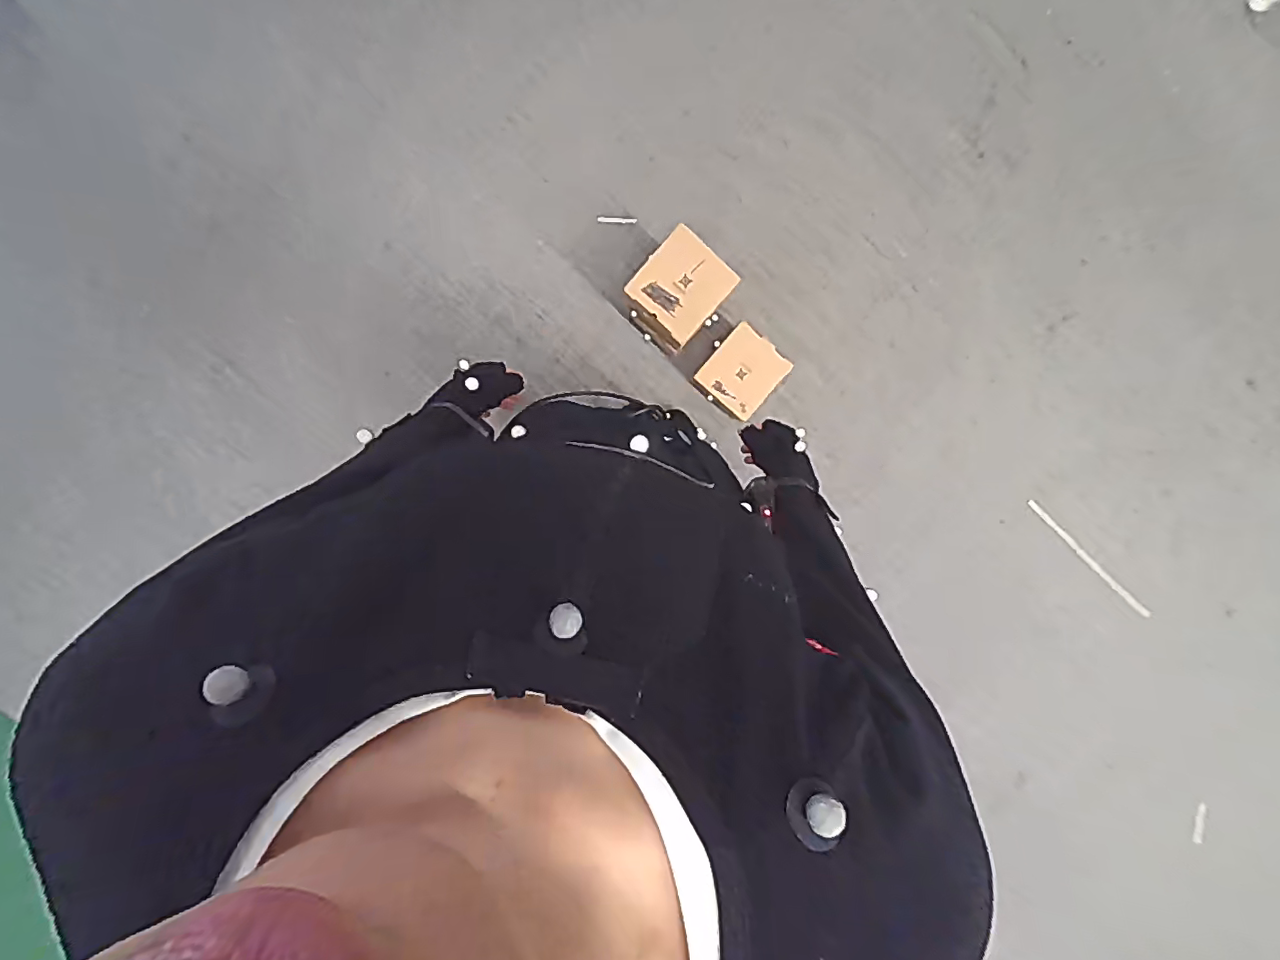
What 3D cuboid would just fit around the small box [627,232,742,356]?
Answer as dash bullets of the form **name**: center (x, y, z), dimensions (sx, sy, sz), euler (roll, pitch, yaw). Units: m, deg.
- **small box**: center (0.092, -0.385, 1.160), dimensions (0.168, 0.176, 0.179), euler (42, 97, -4)
